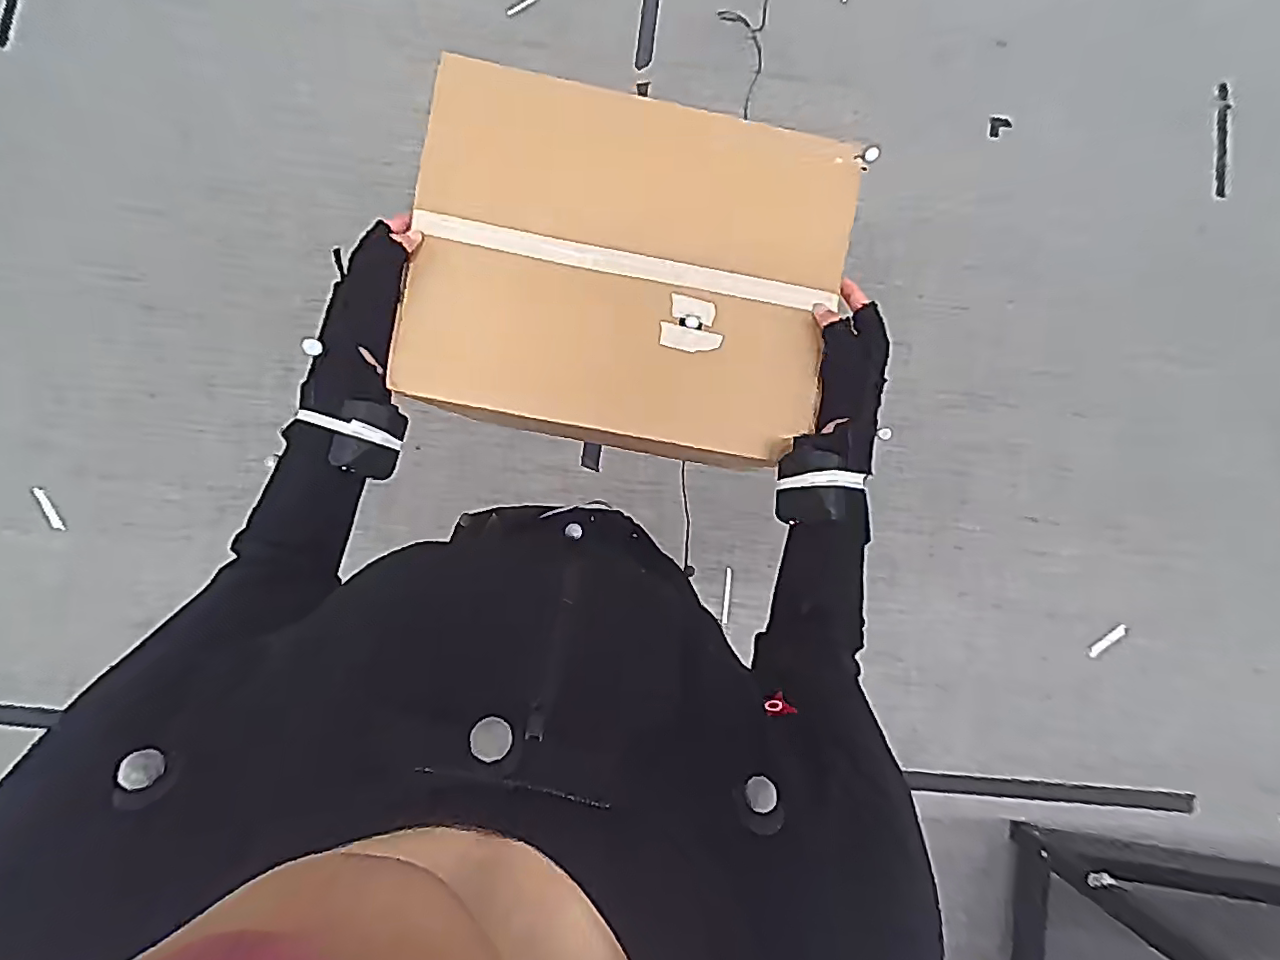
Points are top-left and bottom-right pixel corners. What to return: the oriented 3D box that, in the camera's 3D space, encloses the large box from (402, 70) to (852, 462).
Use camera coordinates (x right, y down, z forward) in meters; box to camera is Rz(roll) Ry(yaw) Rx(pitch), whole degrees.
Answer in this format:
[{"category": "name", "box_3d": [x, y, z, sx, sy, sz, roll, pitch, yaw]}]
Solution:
[{"category": "large box", "box_3d": [-0.020, -0.207, 0.669, 0.408, 0.320, 0.320, 10, 91, -5]}]
